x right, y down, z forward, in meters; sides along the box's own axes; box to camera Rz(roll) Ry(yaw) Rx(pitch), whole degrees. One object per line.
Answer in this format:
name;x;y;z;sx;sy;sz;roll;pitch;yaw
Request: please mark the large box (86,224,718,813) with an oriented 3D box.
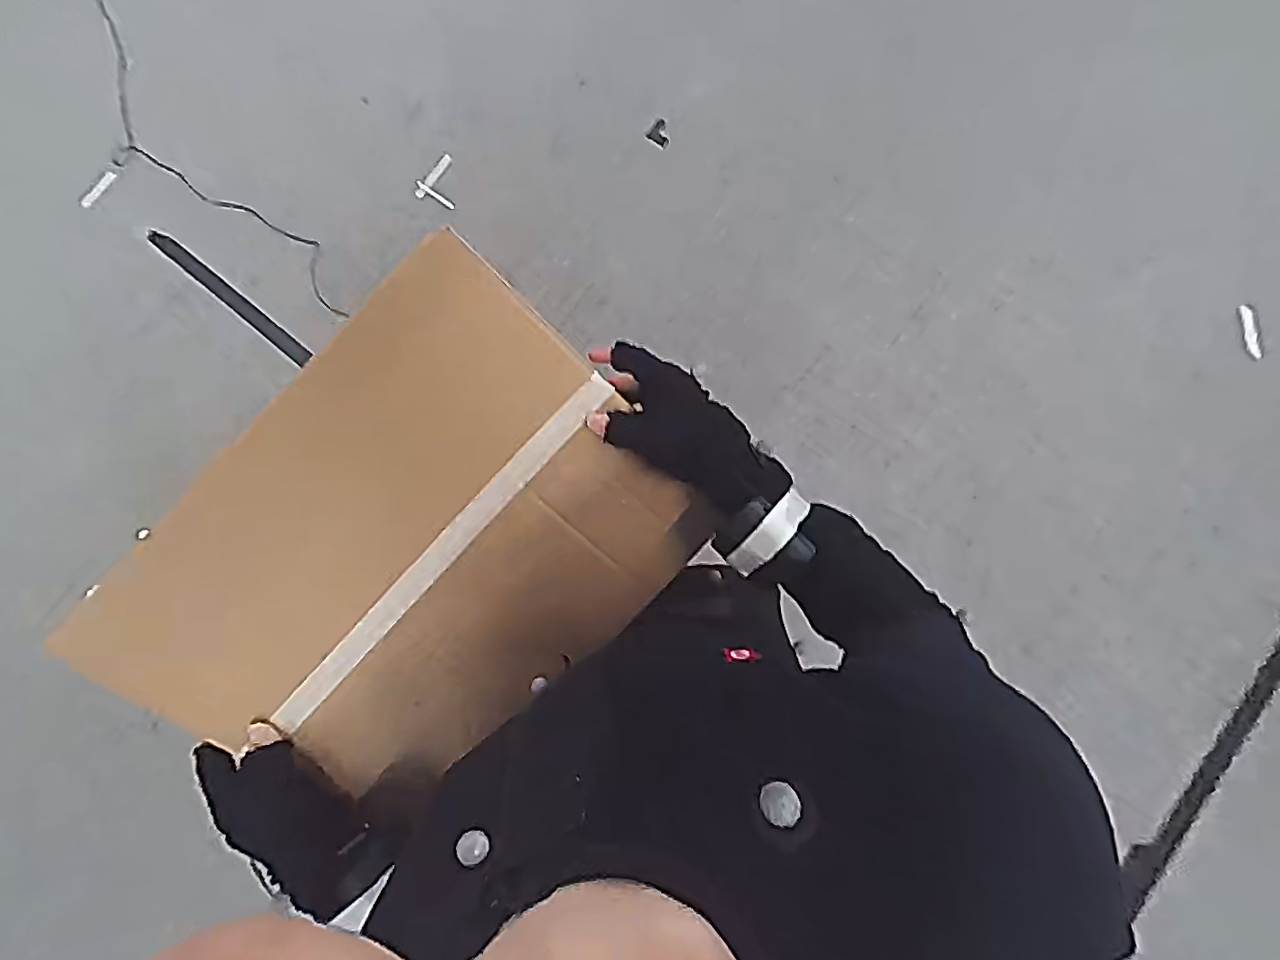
large box;-0.198;0.027;0.574;0.408;0.320;0.320;-46;108;1
